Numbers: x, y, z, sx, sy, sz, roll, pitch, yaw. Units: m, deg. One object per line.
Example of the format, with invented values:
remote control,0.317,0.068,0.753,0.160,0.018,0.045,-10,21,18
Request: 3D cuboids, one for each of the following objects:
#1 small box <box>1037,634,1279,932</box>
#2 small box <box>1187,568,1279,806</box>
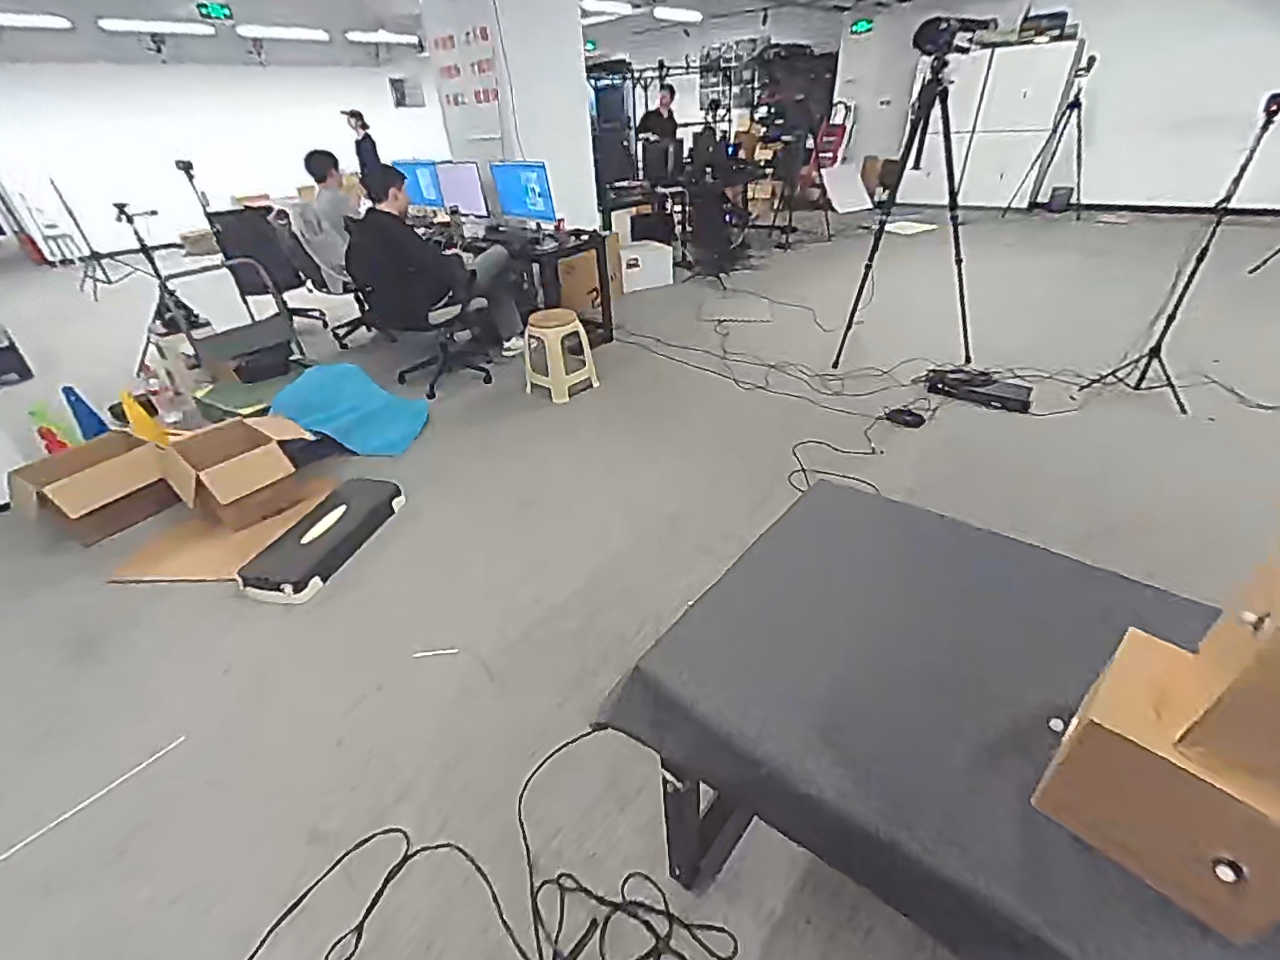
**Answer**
small box,0.550,0.301,0.545,0.168,0.176,0.179,-27,39,-33
small box,0.599,0.175,0.437,0.179,0.176,0.168,-29,42,-33
